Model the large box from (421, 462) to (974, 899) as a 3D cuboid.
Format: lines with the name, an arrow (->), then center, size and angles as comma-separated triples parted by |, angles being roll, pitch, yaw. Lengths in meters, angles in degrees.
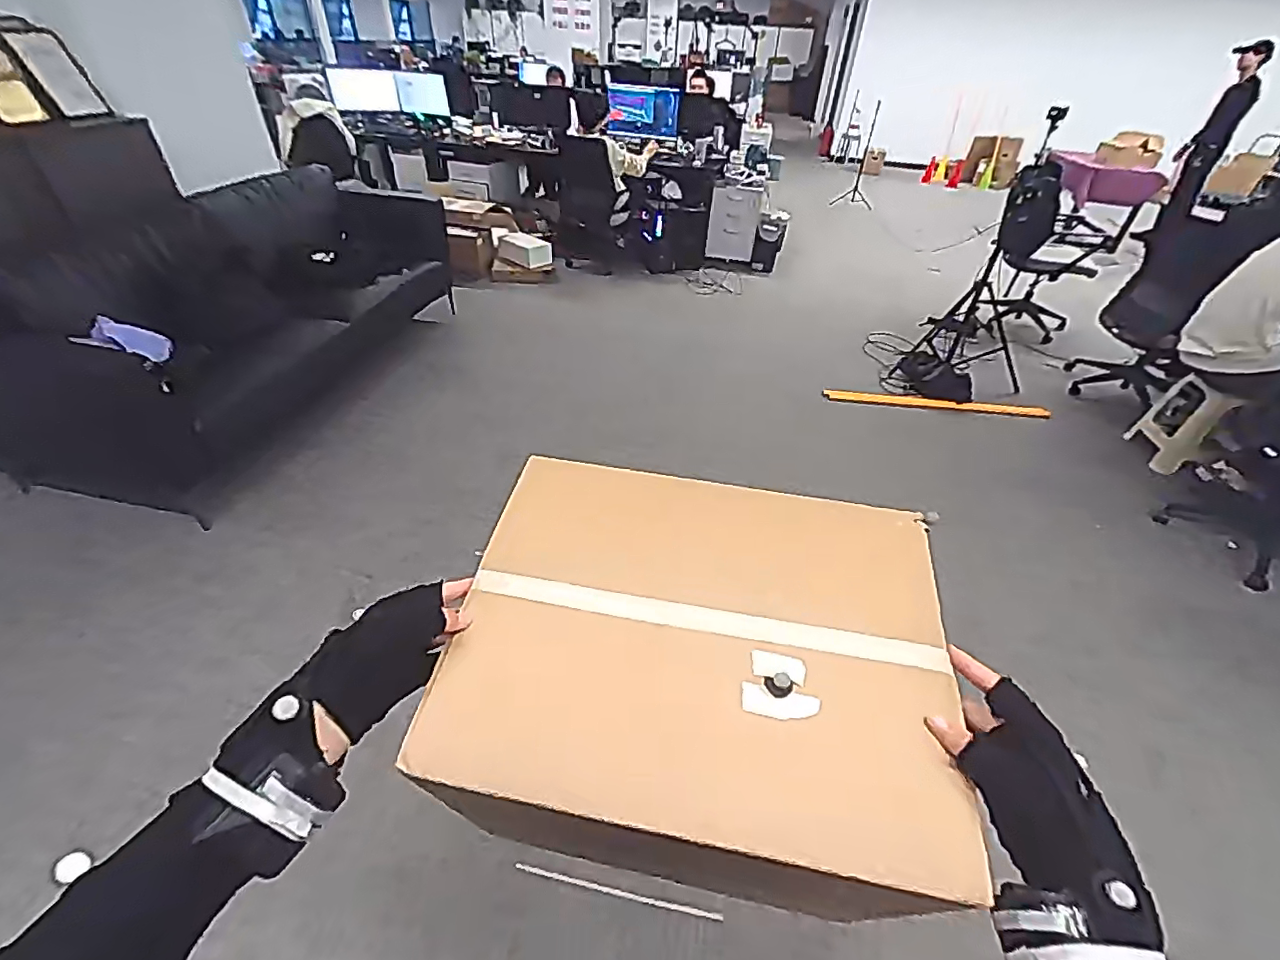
large box -> 0.054, 0.216, 0.588 | 0.408, 0.320, 0.320 | 9, 51, 7
